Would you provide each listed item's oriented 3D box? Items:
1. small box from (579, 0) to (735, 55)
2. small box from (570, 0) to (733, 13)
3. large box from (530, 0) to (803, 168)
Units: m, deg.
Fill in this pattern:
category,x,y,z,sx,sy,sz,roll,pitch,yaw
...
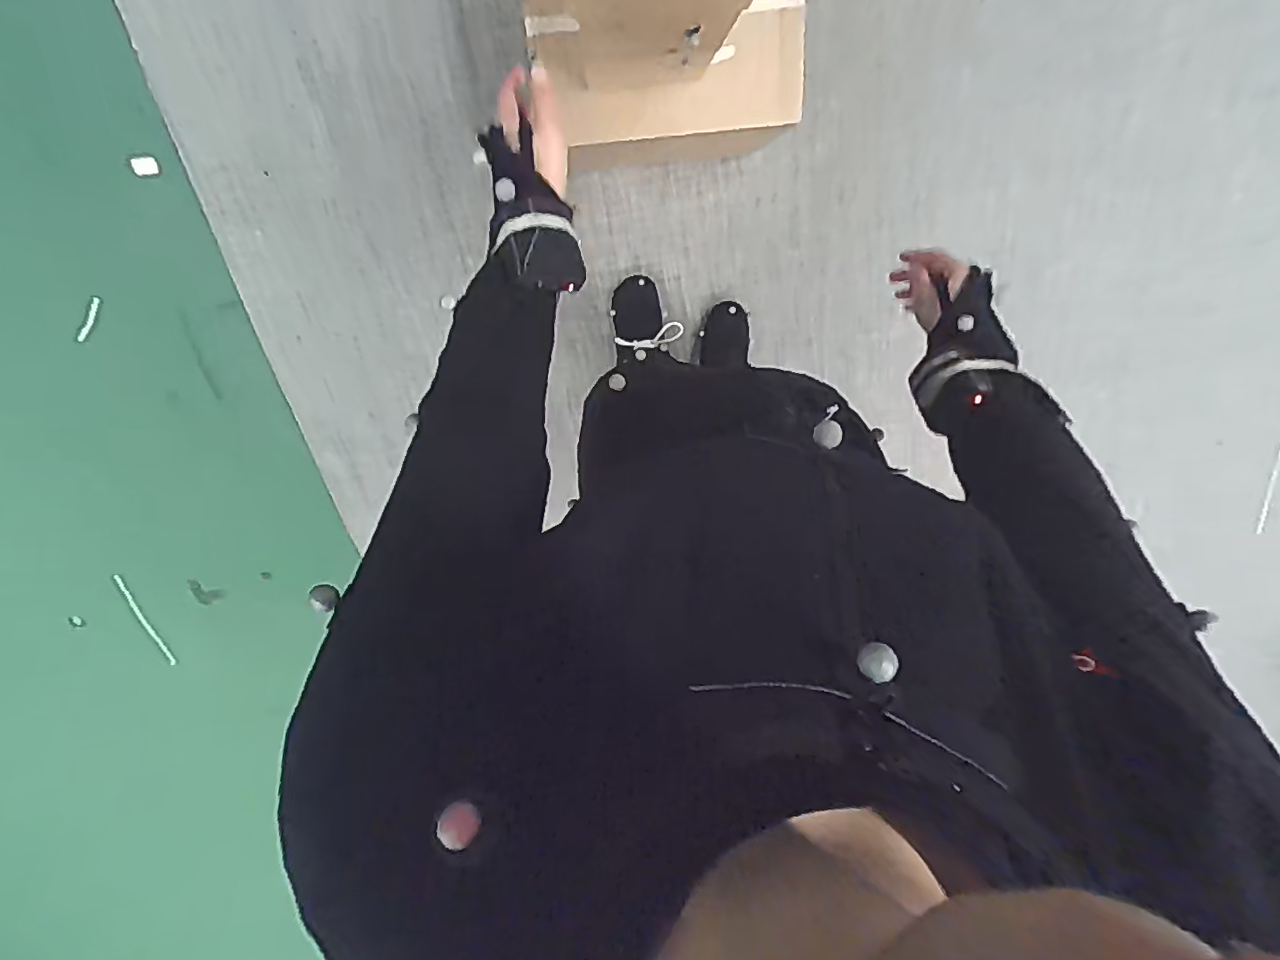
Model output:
category,x,y,z,sx,sy,sz,roll,pitch,yaw
small box,0.012,-0.569,0.556,0.168,0.176,0.179,-8,113,-2
small box,0.017,-0.491,0.412,0.179,0.176,0.168,-7,113,-3
large box,0.031,-0.749,0.923,0.408,0.320,0.320,-7,115,-2
